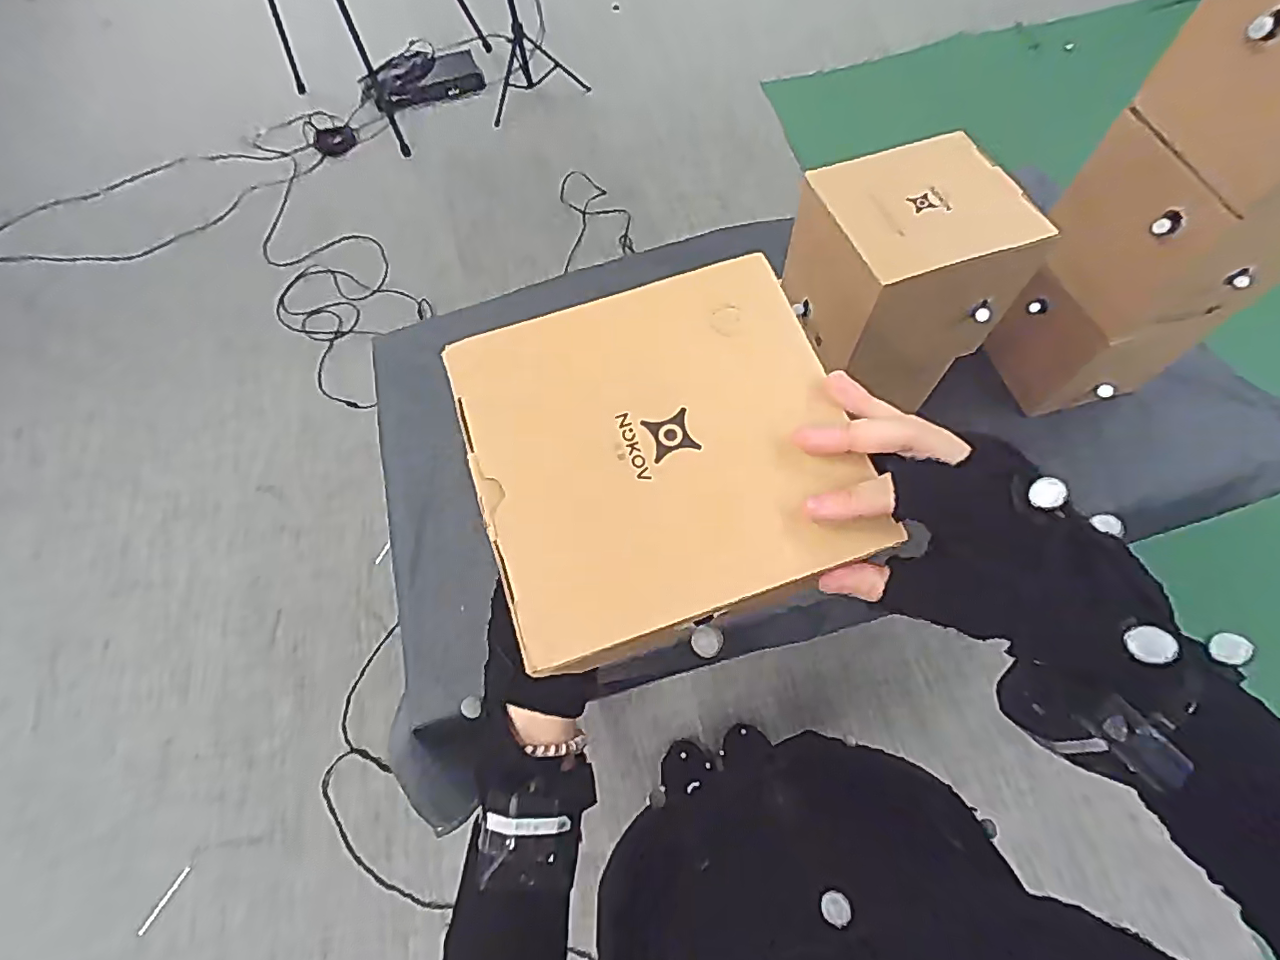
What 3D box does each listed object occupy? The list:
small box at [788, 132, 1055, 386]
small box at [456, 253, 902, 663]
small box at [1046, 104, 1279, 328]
[{"bbox_3d":[0.278,-0.230,0.588,0.179,0.176,0.168,-17,64,-3],"label":"small box"},{"bbox_3d":[0.013,0.002,0.334,0.179,0.176,0.168,-19,73,-5],"label":"small box"},{"bbox_3d":[0.593,-0.287,0.588,0.168,0.176,0.179,-13,65,-1],"label":"small box"}]
